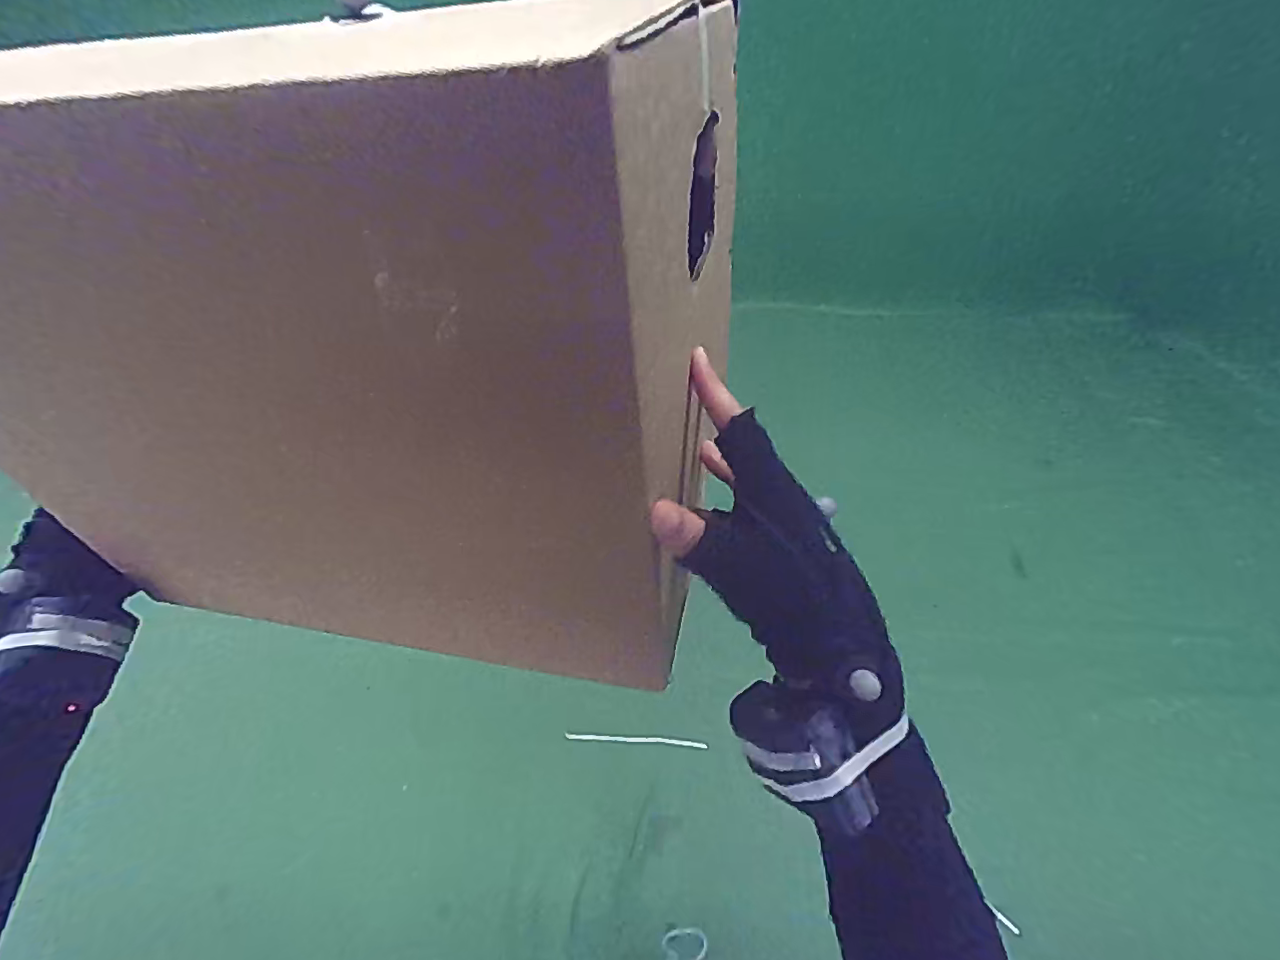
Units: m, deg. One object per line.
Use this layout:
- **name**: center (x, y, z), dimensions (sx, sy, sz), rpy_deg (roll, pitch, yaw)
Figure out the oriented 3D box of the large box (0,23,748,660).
- **large box**: center (-0.145, -0.109, 0.391), dimensions (0.408, 0.320, 0.320), rpy_deg (6, 44, 12)
